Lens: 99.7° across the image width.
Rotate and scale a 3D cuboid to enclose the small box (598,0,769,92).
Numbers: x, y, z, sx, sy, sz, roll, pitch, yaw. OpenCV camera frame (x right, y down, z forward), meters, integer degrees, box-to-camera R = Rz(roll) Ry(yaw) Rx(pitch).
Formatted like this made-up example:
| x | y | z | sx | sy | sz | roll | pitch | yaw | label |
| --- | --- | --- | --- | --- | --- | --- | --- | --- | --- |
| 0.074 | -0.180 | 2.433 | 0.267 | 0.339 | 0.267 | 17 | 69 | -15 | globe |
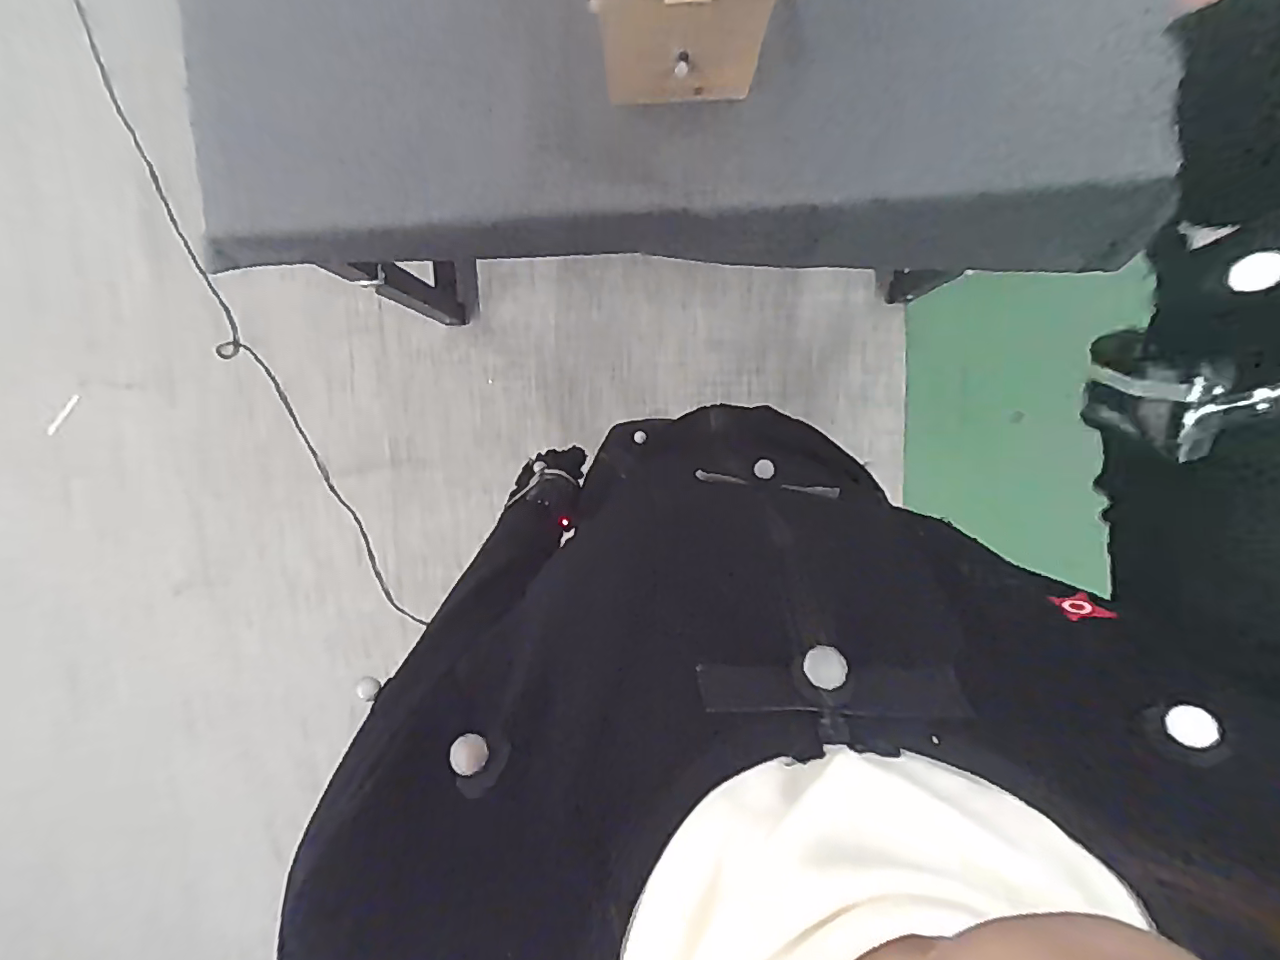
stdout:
| x | y | z | sx | sy | sz | roll | pitch | yaw | label |
| --- | --- | --- | --- | --- | --- | --- | --- | --- | --- |
| 0.043 | -0.534 | 0.556 | 0.168 | 0.176 | 0.179 | -3 | 97 | 3 | small box |
